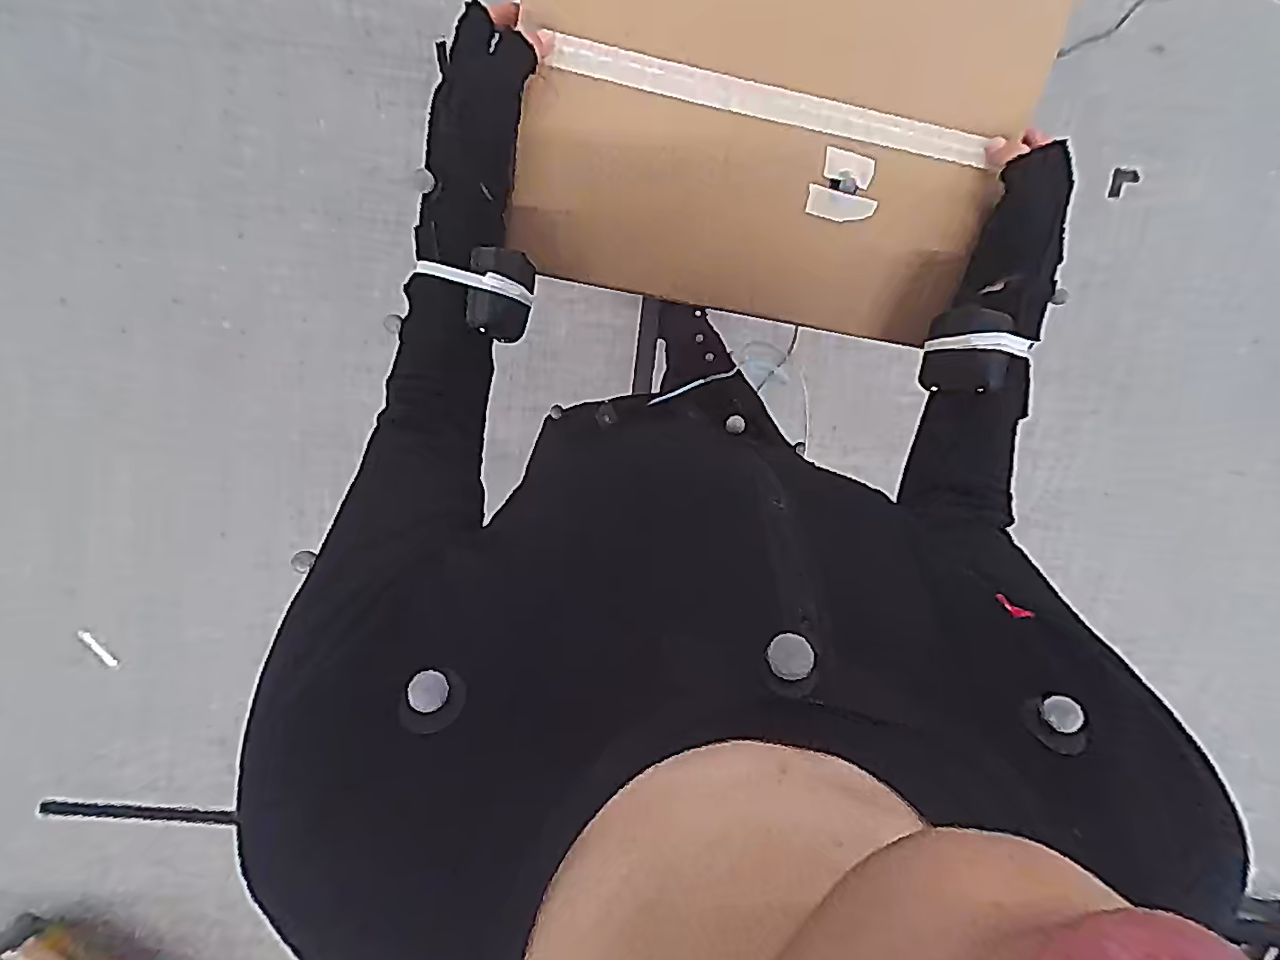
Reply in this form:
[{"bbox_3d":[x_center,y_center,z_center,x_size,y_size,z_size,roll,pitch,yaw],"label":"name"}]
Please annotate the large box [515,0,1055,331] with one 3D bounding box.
[{"bbox_3d":[0.098,-0.365,0.569,0.408,0.320,0.320,8,114,-8],"label":"large box"}]
